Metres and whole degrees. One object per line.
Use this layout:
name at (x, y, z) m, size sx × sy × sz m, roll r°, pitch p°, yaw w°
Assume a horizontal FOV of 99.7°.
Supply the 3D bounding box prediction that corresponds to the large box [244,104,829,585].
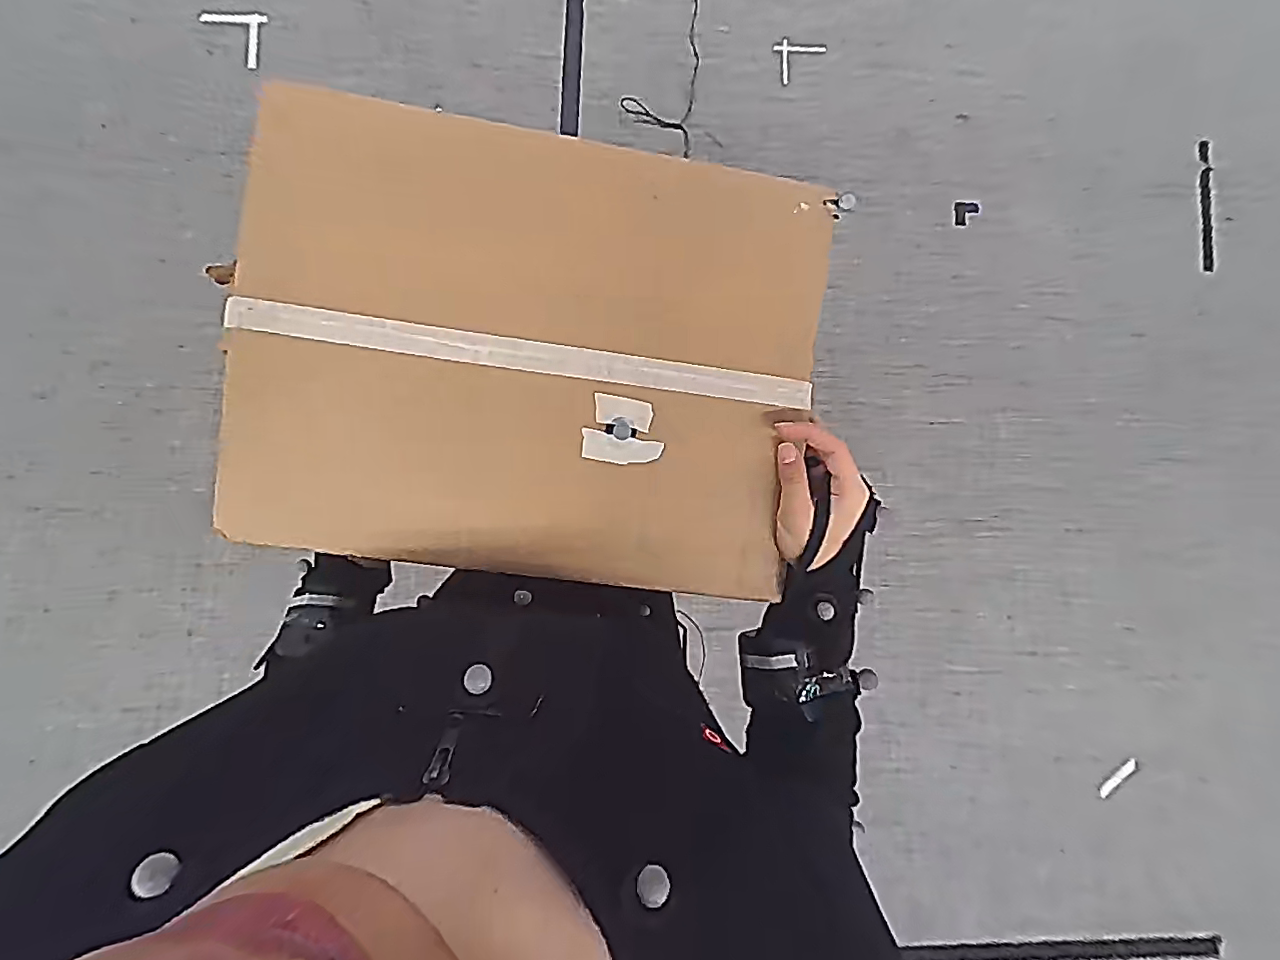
large box at (-0.084, -0.094, 0.543) m, size 0.408 × 0.320 × 0.320 m, roll 7°, pitch 92°, yaw -7°
